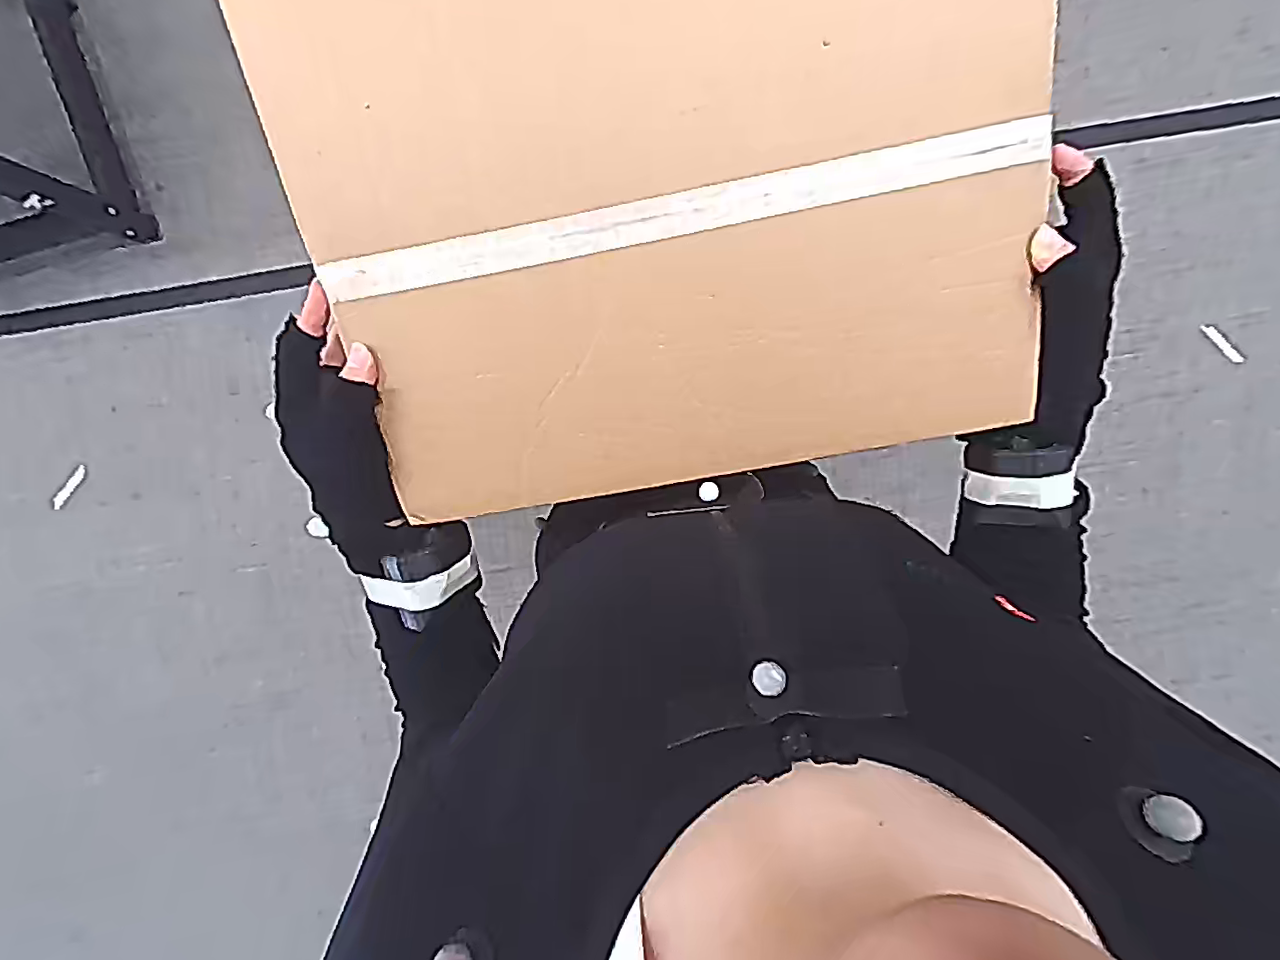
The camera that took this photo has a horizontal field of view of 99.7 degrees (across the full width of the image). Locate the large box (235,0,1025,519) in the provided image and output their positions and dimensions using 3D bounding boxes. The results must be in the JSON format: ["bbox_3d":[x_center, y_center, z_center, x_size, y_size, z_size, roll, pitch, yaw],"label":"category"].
[{"bbox_3d":[0.014,-0.200,0.451,0.408,0.320,0.320,-10,109,3],"label":"large box"}]
